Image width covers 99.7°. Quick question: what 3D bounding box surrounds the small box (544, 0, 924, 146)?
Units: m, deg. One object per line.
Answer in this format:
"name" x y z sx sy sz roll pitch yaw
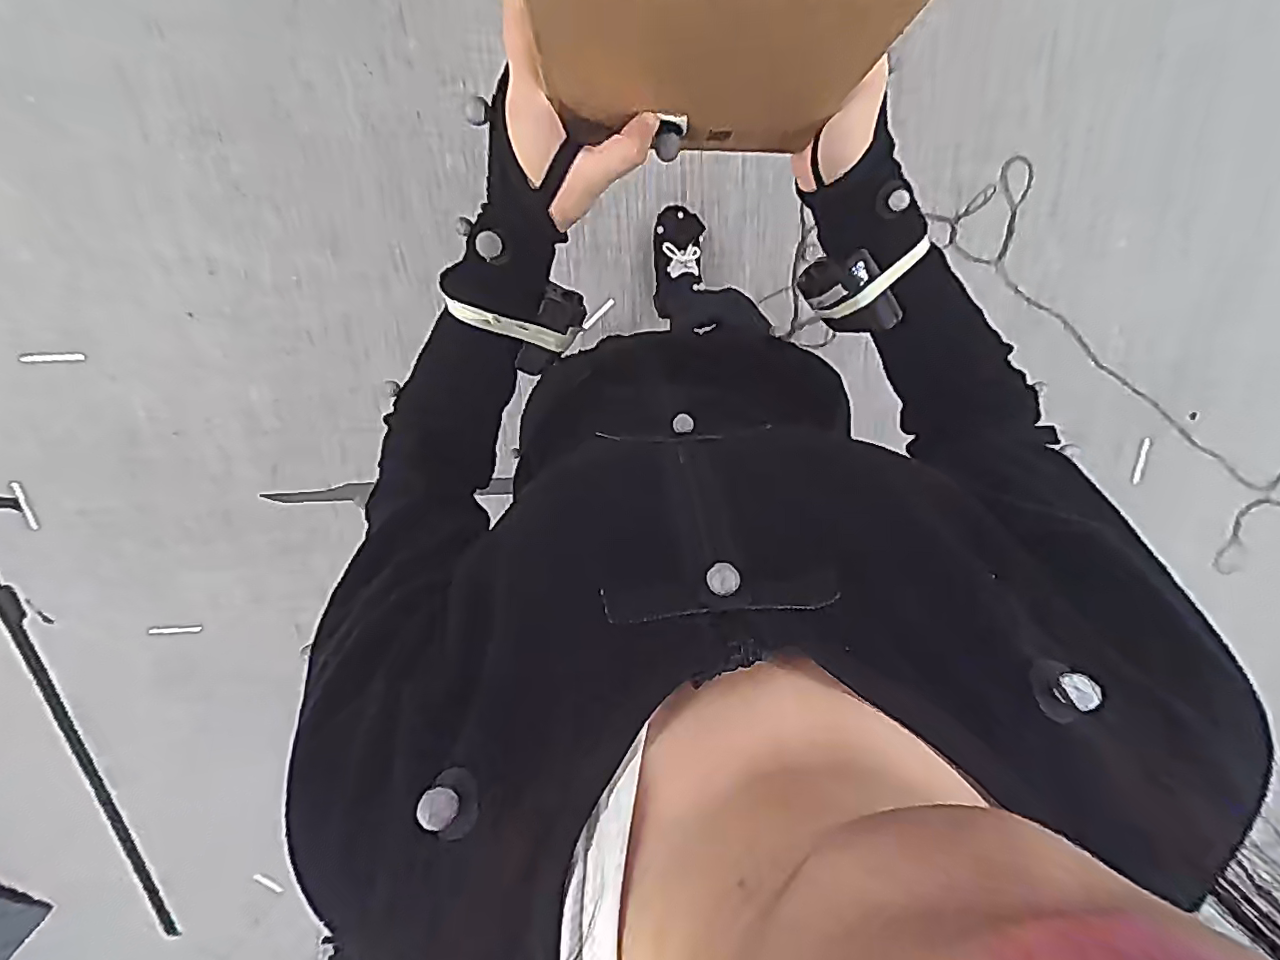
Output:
"small box" 0.035 -0.295 0.265 0.168 0.176 0.179 -1 102 -2
